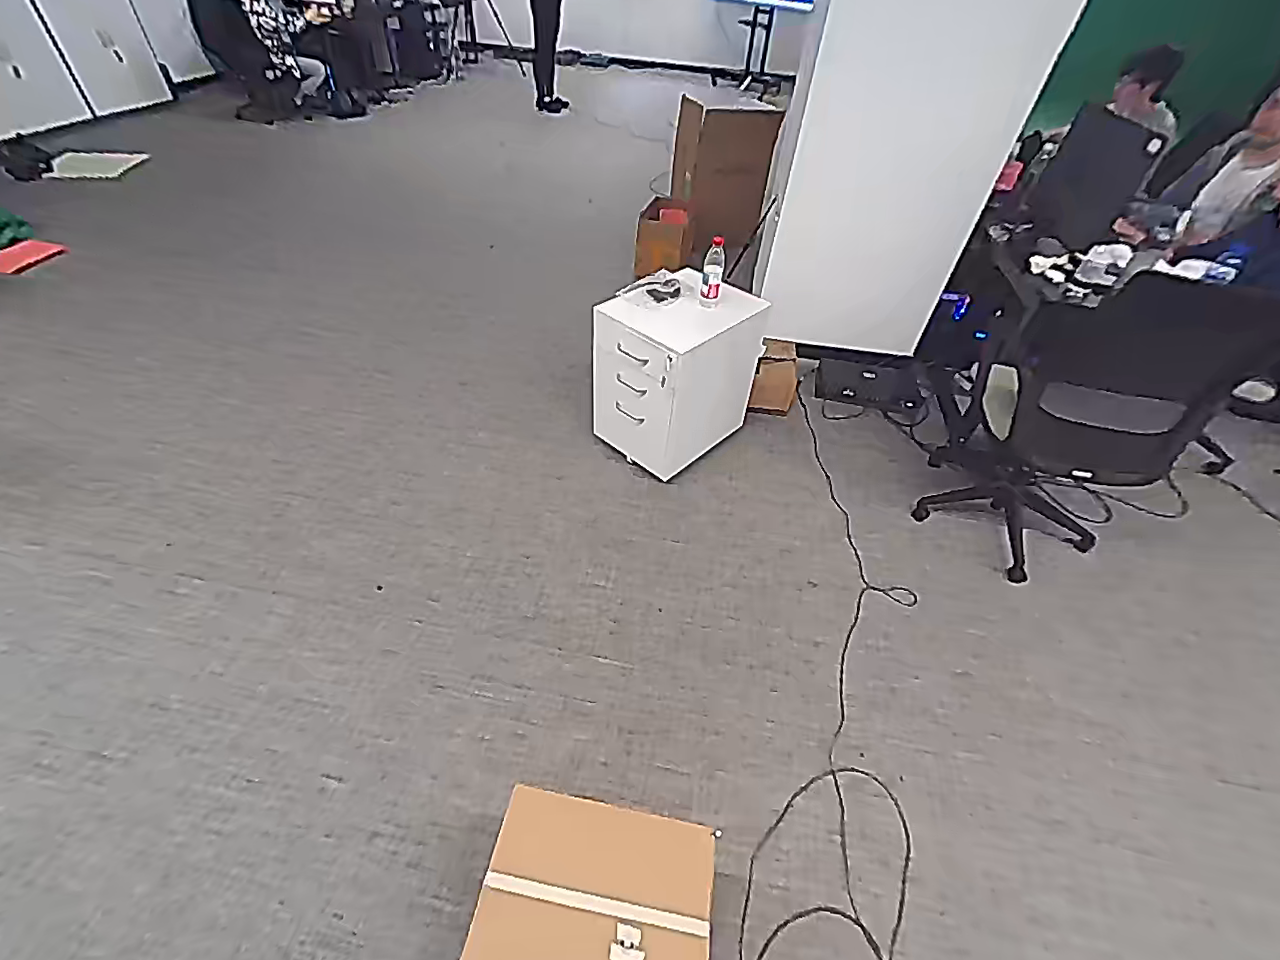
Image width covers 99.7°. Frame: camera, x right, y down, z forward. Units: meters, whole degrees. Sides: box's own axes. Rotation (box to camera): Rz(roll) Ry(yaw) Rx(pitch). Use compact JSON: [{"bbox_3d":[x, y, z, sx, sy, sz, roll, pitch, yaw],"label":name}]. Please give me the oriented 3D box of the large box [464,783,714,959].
[{"bbox_3d":[-0.089,0.845,1.061,0.408,0.320,0.320,10,45,4],"label":"large box"}]
